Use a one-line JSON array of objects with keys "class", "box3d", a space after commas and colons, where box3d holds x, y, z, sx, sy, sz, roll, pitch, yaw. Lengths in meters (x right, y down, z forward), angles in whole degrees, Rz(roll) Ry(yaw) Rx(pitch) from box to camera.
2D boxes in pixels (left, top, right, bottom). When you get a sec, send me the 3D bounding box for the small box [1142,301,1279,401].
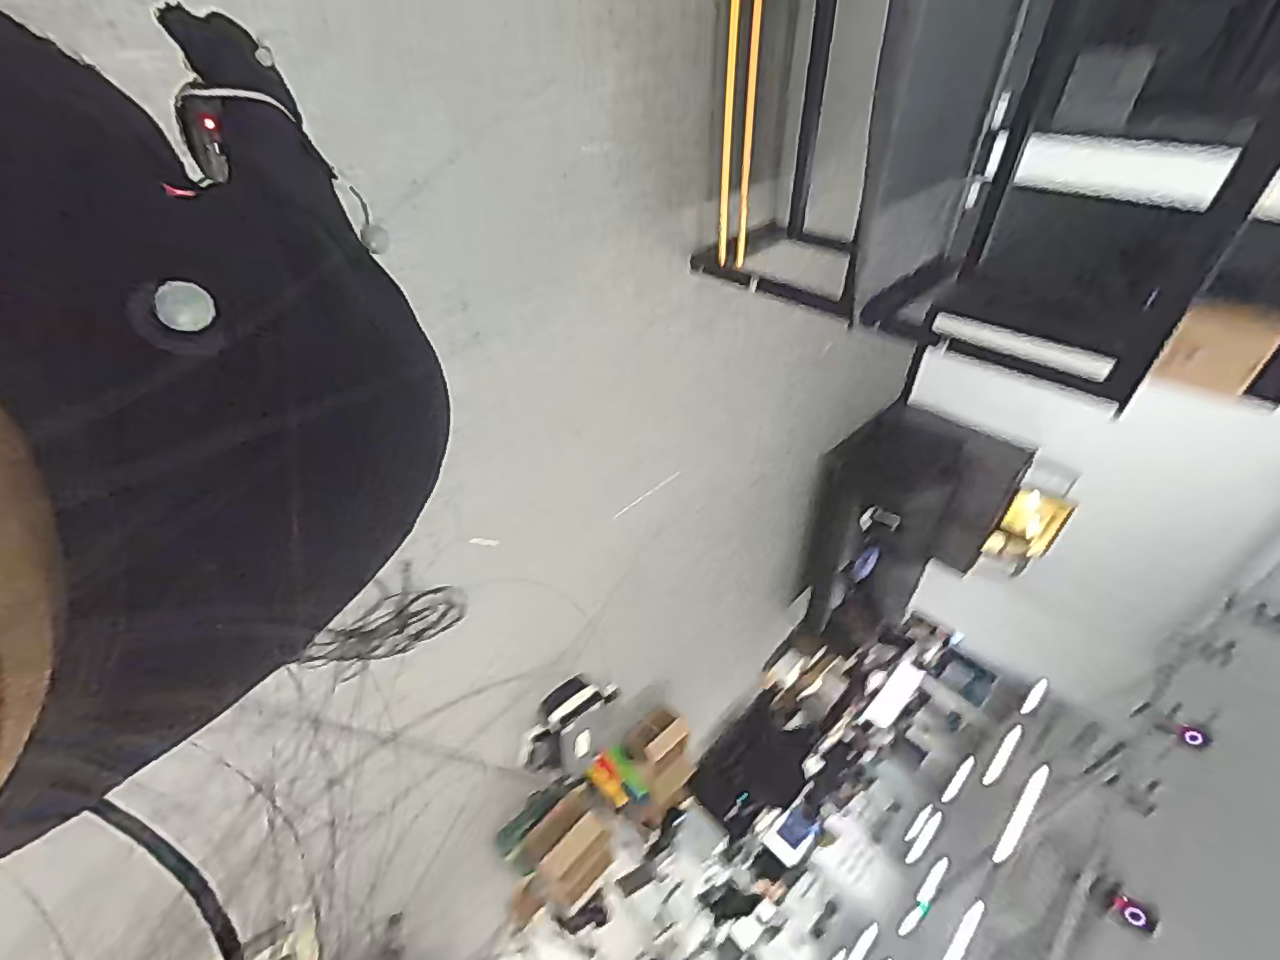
[{"class": "small box", "box3d": [1.354, -0.314, 1.287, 0.179, 0.176, 0.168, -28, 135, -35]}]
